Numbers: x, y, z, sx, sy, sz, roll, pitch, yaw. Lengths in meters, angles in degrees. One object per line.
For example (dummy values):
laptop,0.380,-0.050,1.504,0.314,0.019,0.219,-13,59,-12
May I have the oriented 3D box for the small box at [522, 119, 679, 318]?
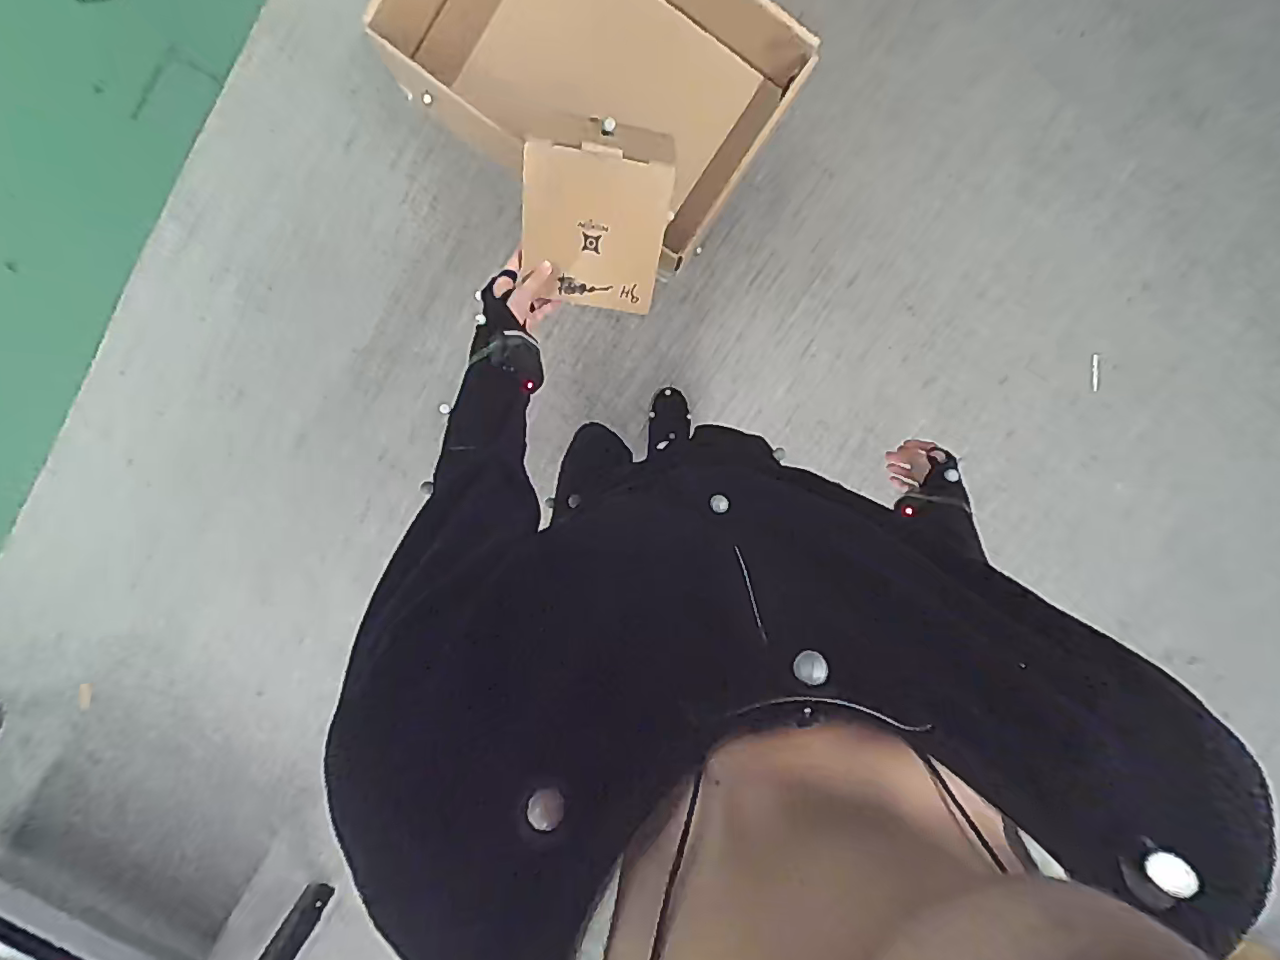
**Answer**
small box,-0.050,-0.334,0.685,0.168,0.176,0.179,8,132,-4
